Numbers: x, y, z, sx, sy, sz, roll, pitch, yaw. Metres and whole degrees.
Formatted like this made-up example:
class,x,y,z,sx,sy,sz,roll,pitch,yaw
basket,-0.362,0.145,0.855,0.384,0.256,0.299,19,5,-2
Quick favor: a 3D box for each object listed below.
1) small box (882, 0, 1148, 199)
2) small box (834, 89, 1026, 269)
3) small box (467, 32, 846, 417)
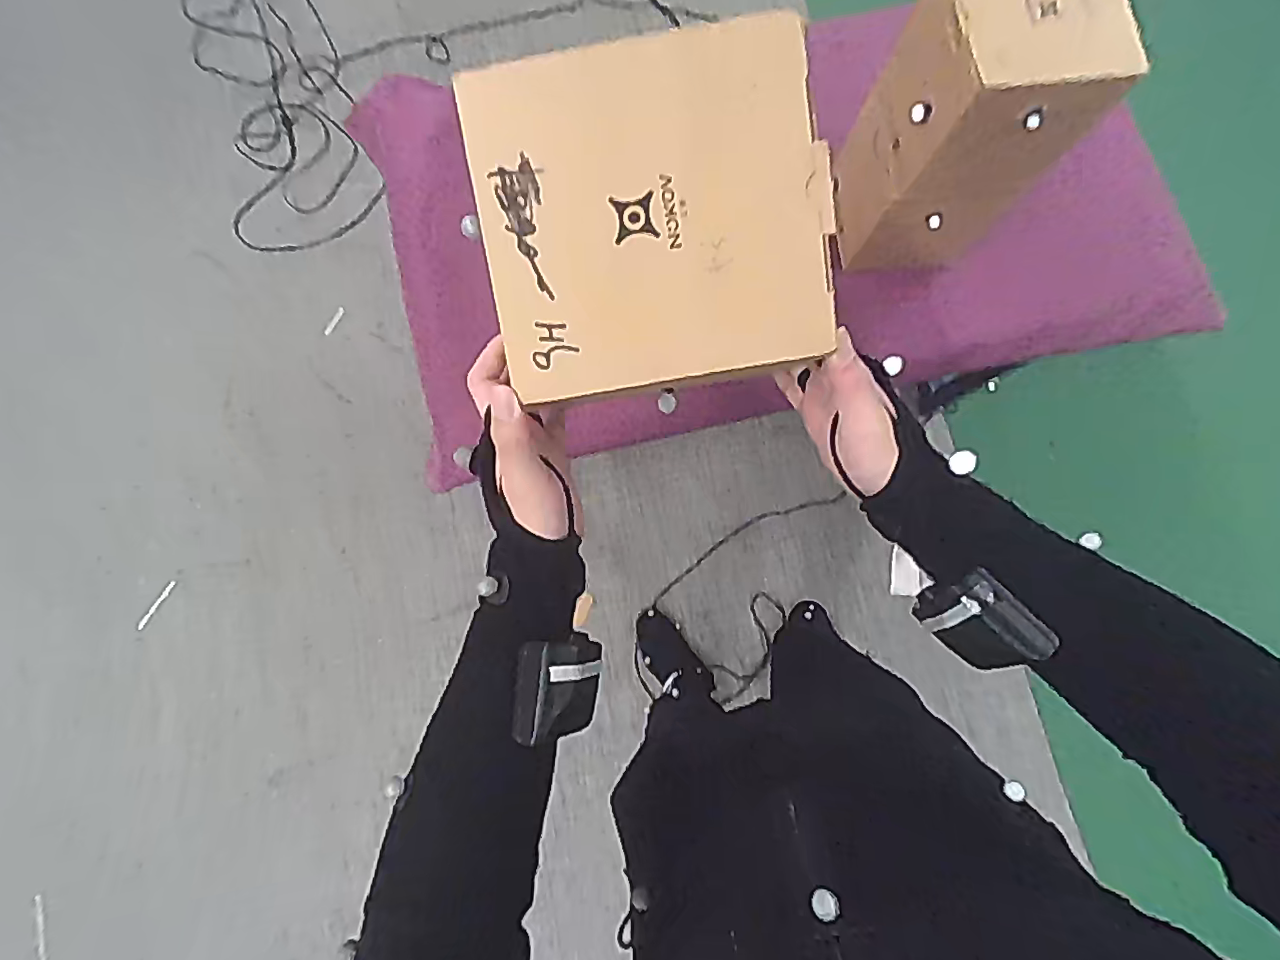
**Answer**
class,x,y,z,sx,sy,sz,roll,pitch,yaw
small box,0.398,-0.447,0.613,0.179,0.176,0.168,-6,81,-3
small box,0.394,-0.422,0.774,0.179,0.176,0.168,-5,80,-3
small box,0.010,-0.136,0.352,0.179,0.176,0.168,-9,96,1
